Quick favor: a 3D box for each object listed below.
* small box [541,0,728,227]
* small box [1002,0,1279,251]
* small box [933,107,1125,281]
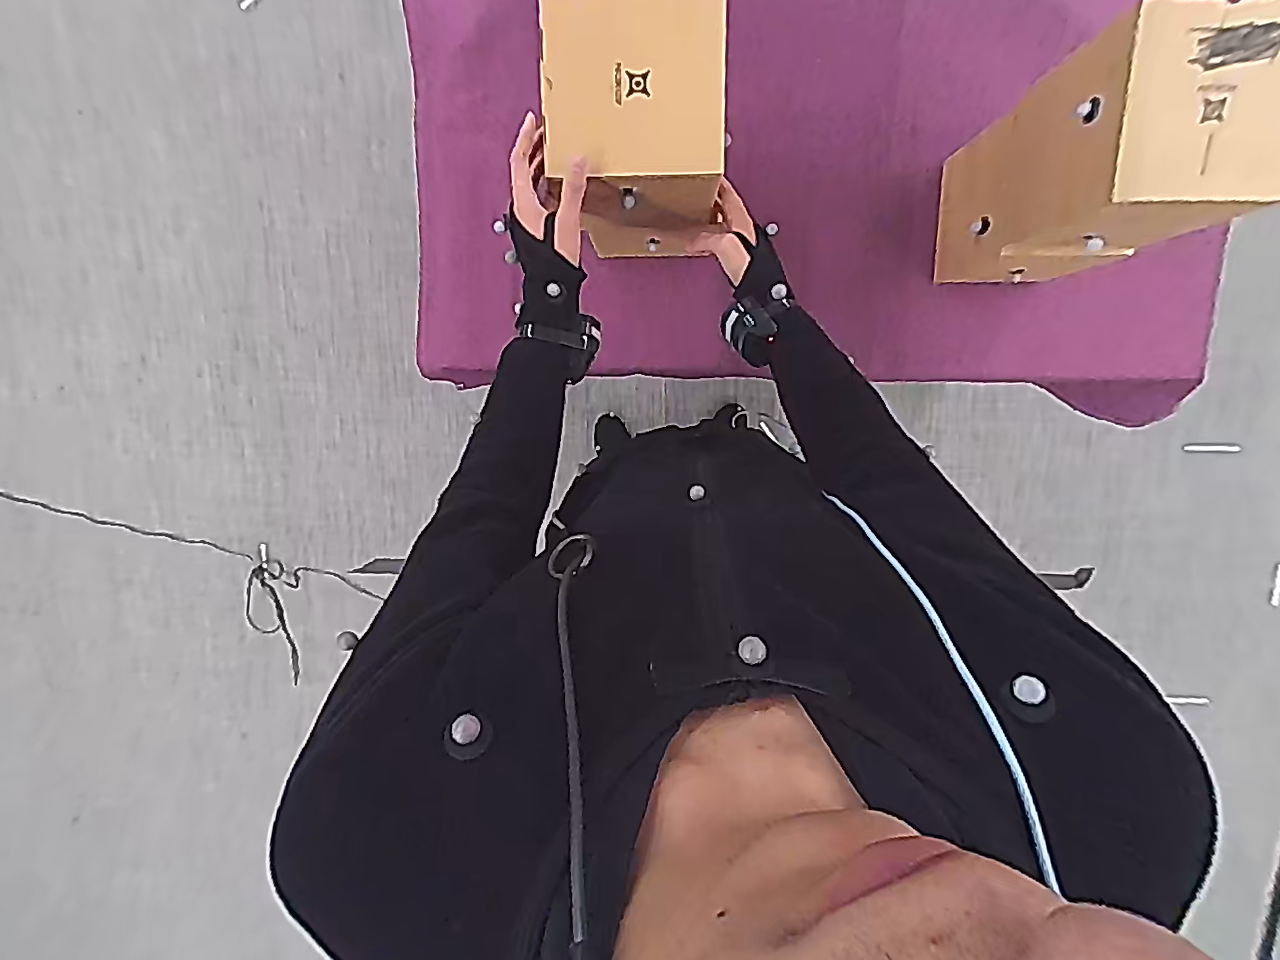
[{"bbox_3d":[-0.003,-0.387,0.591,0.179,0.176,0.168,0,100,3],"label":"small box"},{"bbox_3d":[0.528,-0.362,0.583,0.168,0.176,0.179,1,100,1],"label":"small box"},{"bbox_3d":[0.531,-0.379,0.746,0.168,0.176,0.179,1,99,1],"label":"small box"}]
